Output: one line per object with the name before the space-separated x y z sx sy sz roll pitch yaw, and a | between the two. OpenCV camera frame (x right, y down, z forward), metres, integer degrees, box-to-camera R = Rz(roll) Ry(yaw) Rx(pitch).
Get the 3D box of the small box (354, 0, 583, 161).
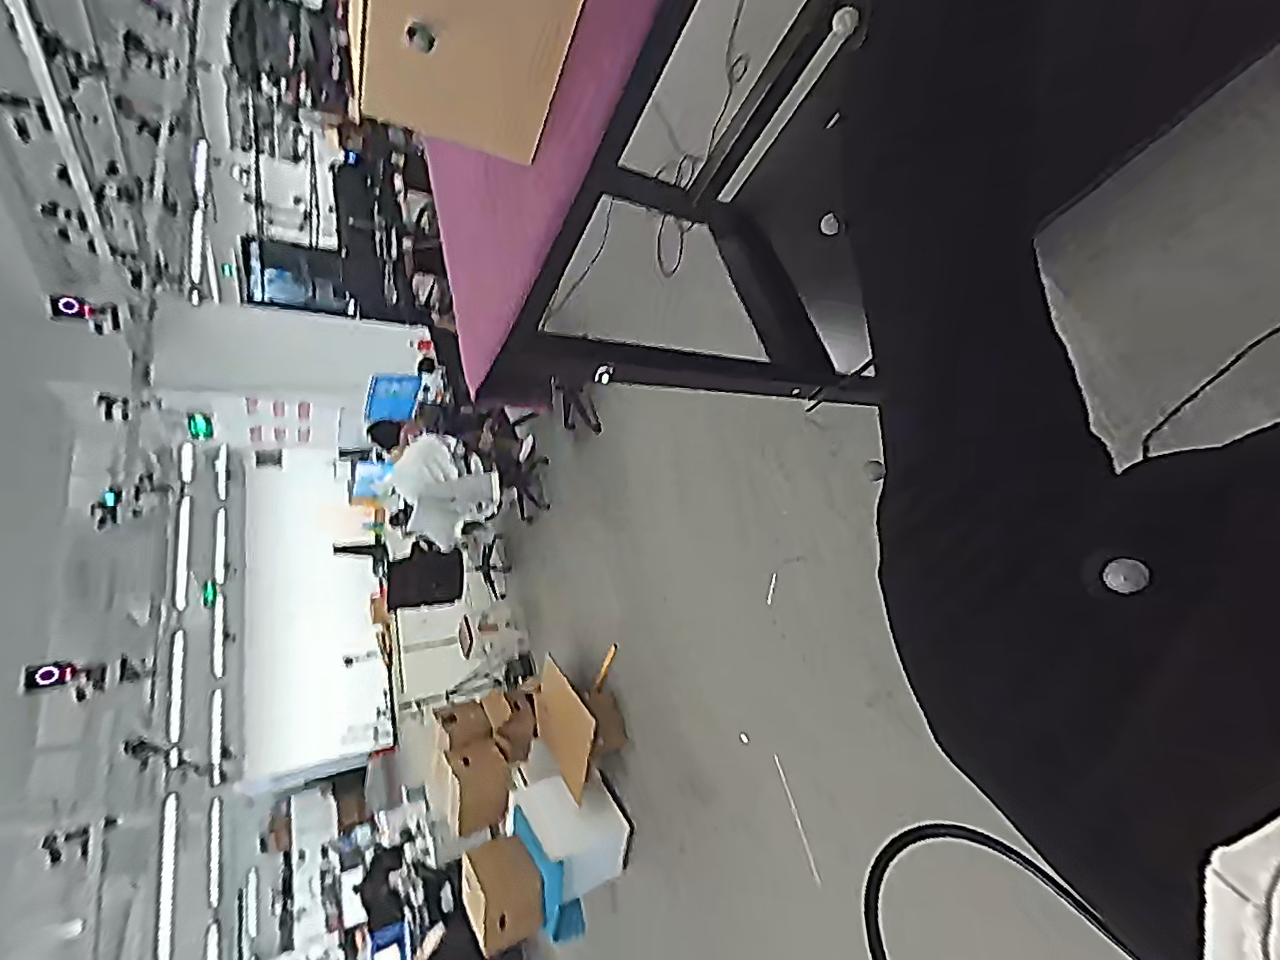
small box | -0.167 -0.444 0.510 0.179 0.176 0.168 -50 51 46
